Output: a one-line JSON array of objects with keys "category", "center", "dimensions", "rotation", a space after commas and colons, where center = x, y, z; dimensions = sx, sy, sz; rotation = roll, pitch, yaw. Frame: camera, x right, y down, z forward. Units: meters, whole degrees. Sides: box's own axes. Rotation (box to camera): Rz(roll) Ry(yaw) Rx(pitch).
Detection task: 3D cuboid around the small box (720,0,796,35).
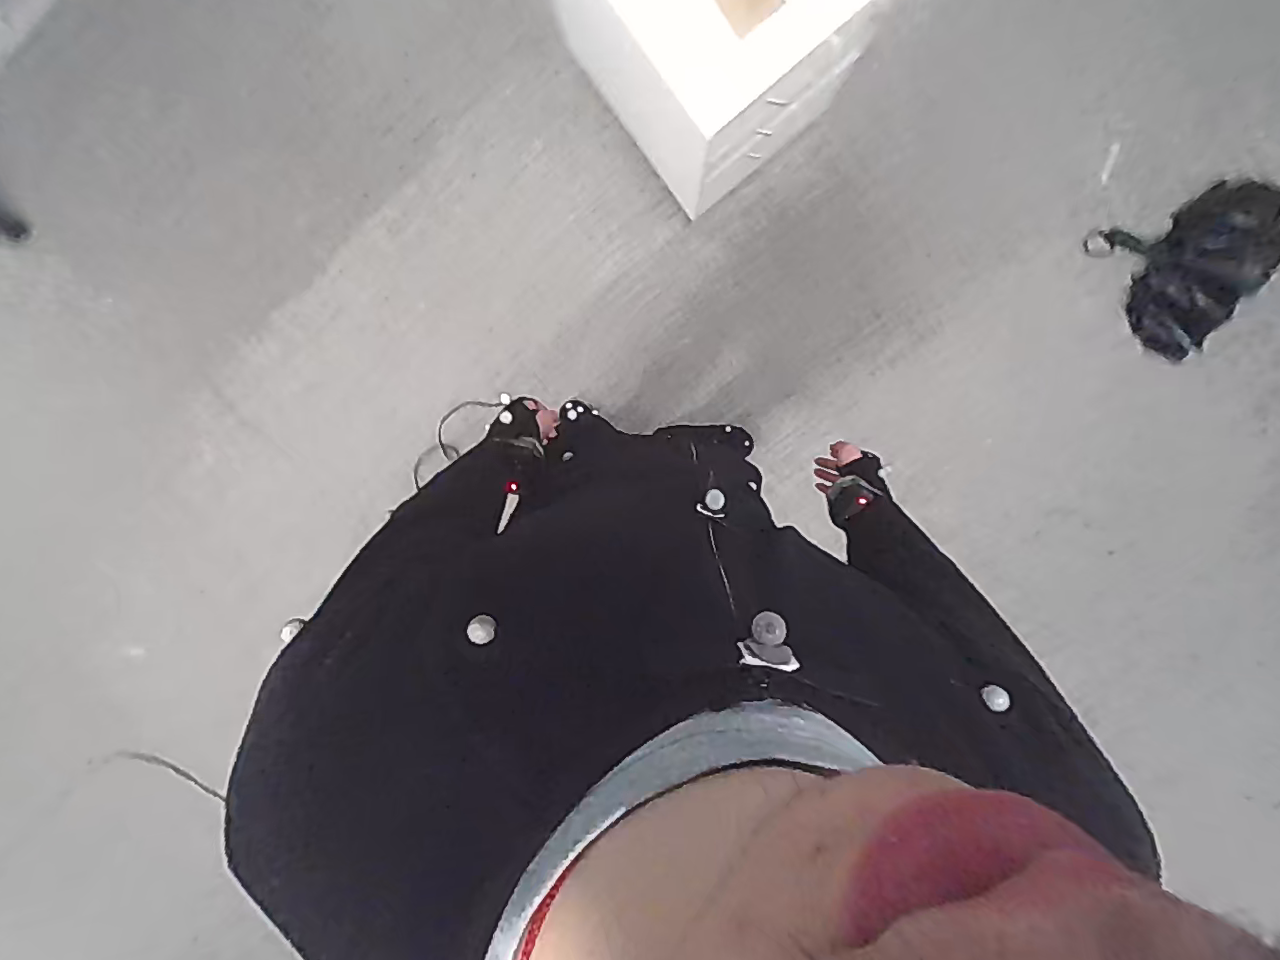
[{"category": "small box", "center": [0.166, -0.748, 0.700], "dimensions": [0.168, 0.176, 0.179], "rotation": [-34, 100, 10]}]
